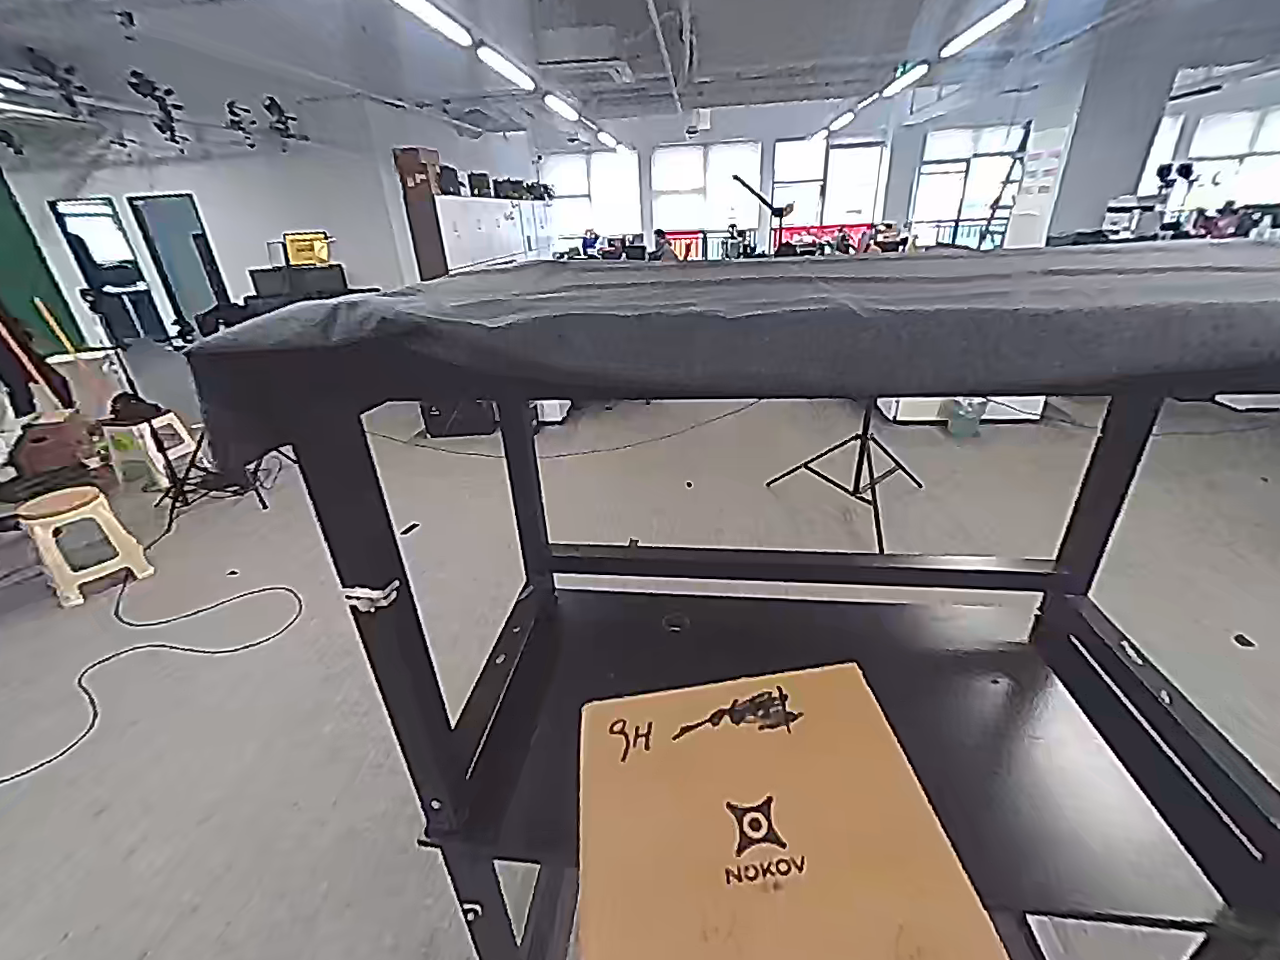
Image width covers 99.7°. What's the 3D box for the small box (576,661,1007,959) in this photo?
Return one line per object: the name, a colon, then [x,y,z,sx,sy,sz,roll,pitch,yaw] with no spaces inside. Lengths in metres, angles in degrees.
small box: [0.062,0.228,0.285,0.168,0.176,0.179,-7,34,-1]
